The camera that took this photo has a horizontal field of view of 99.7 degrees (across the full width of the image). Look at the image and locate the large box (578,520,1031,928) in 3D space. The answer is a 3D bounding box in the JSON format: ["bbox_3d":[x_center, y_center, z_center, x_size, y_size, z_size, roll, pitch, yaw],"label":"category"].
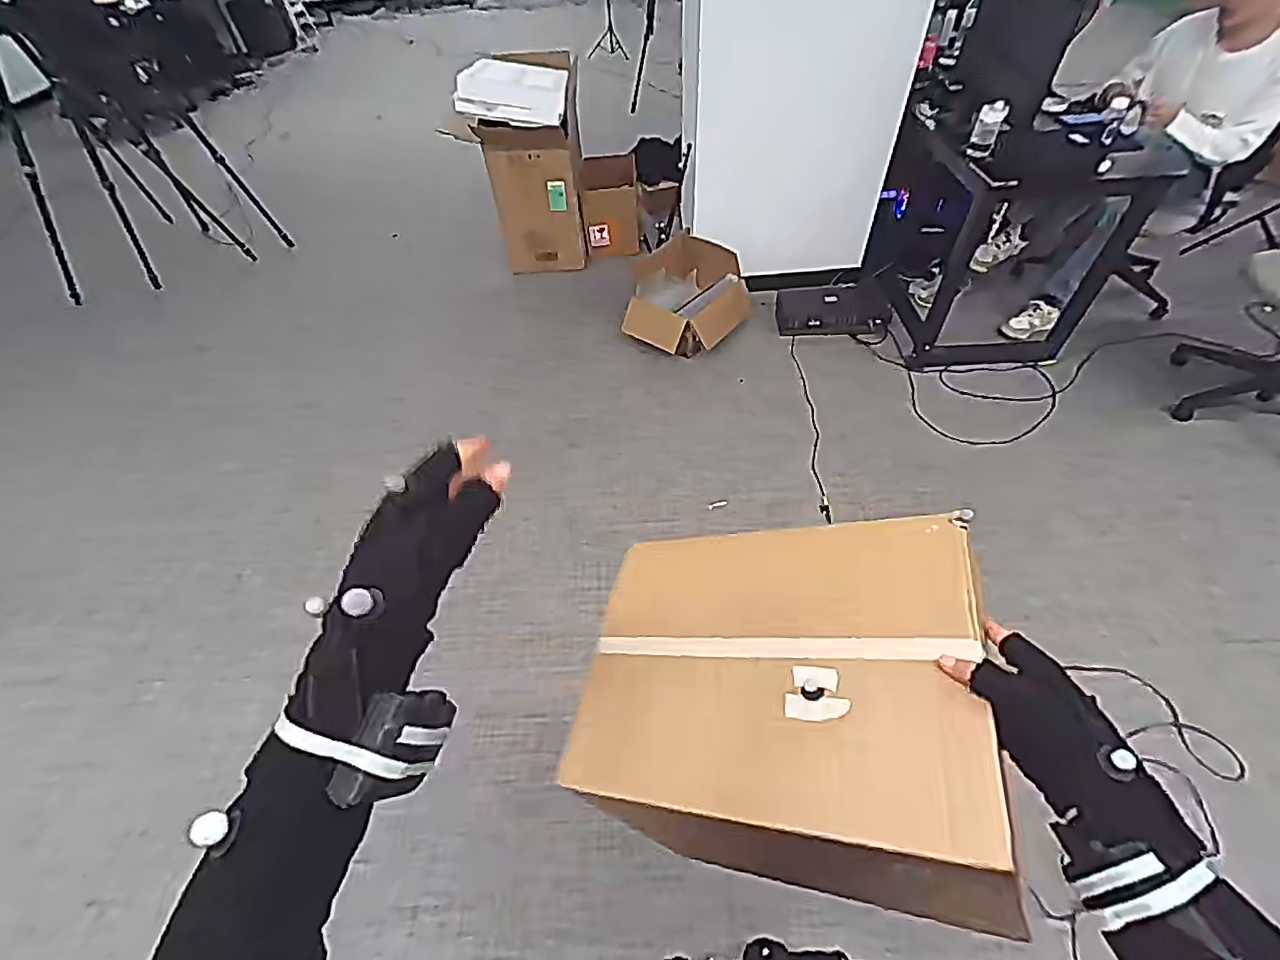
[{"bbox_3d":[0.204,0.285,0.669,0.408,0.320,0.320,-11,43,33],"label":"large box"}]
